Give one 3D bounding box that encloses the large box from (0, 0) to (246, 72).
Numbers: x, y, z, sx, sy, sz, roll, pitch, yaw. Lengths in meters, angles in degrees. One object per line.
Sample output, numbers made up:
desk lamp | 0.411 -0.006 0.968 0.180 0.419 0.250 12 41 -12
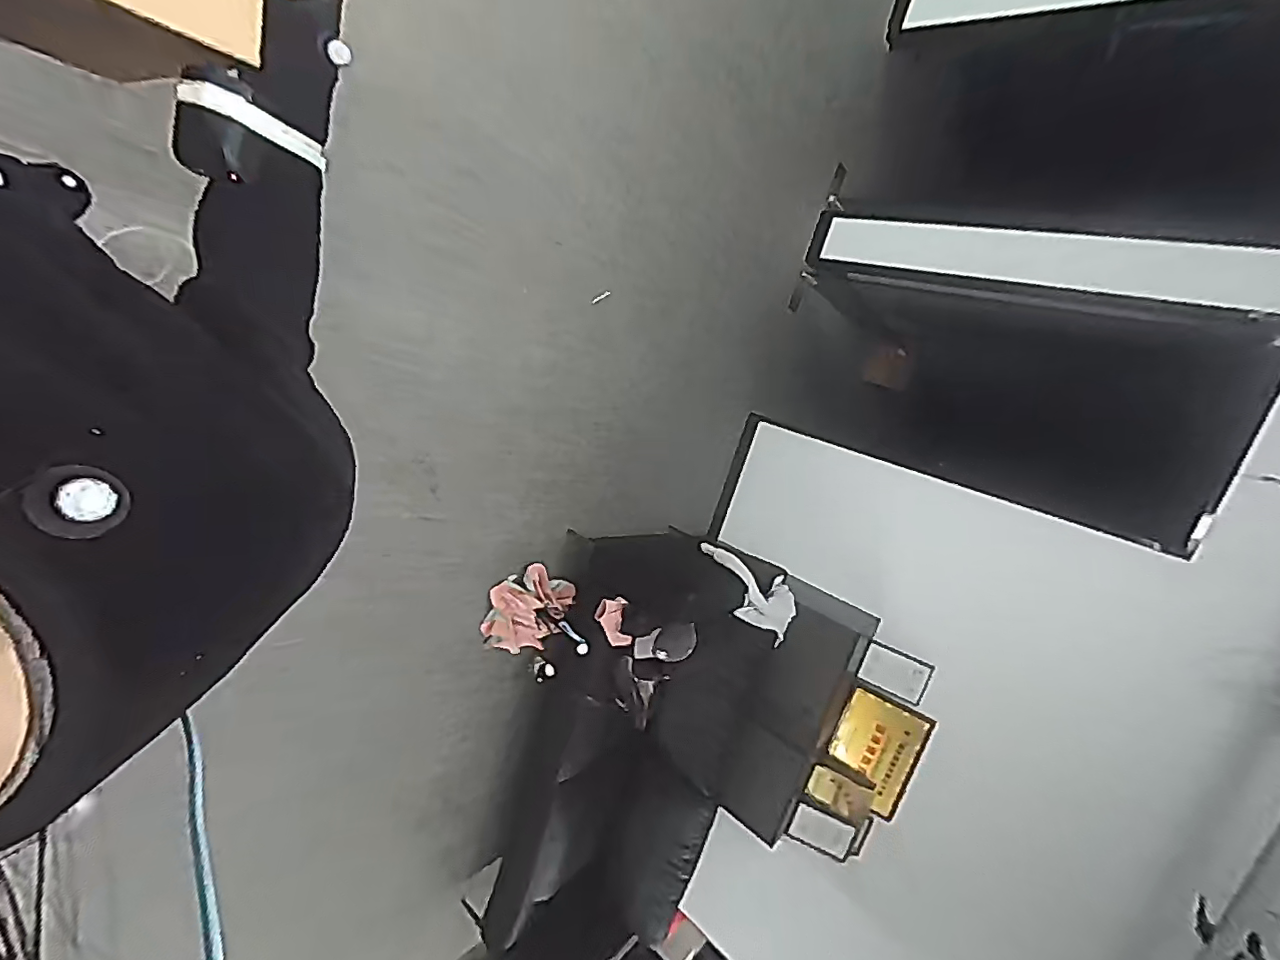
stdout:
large box | -0.471 -0.459 0.252 0.408 0.320 0.320 -9 117 -53
